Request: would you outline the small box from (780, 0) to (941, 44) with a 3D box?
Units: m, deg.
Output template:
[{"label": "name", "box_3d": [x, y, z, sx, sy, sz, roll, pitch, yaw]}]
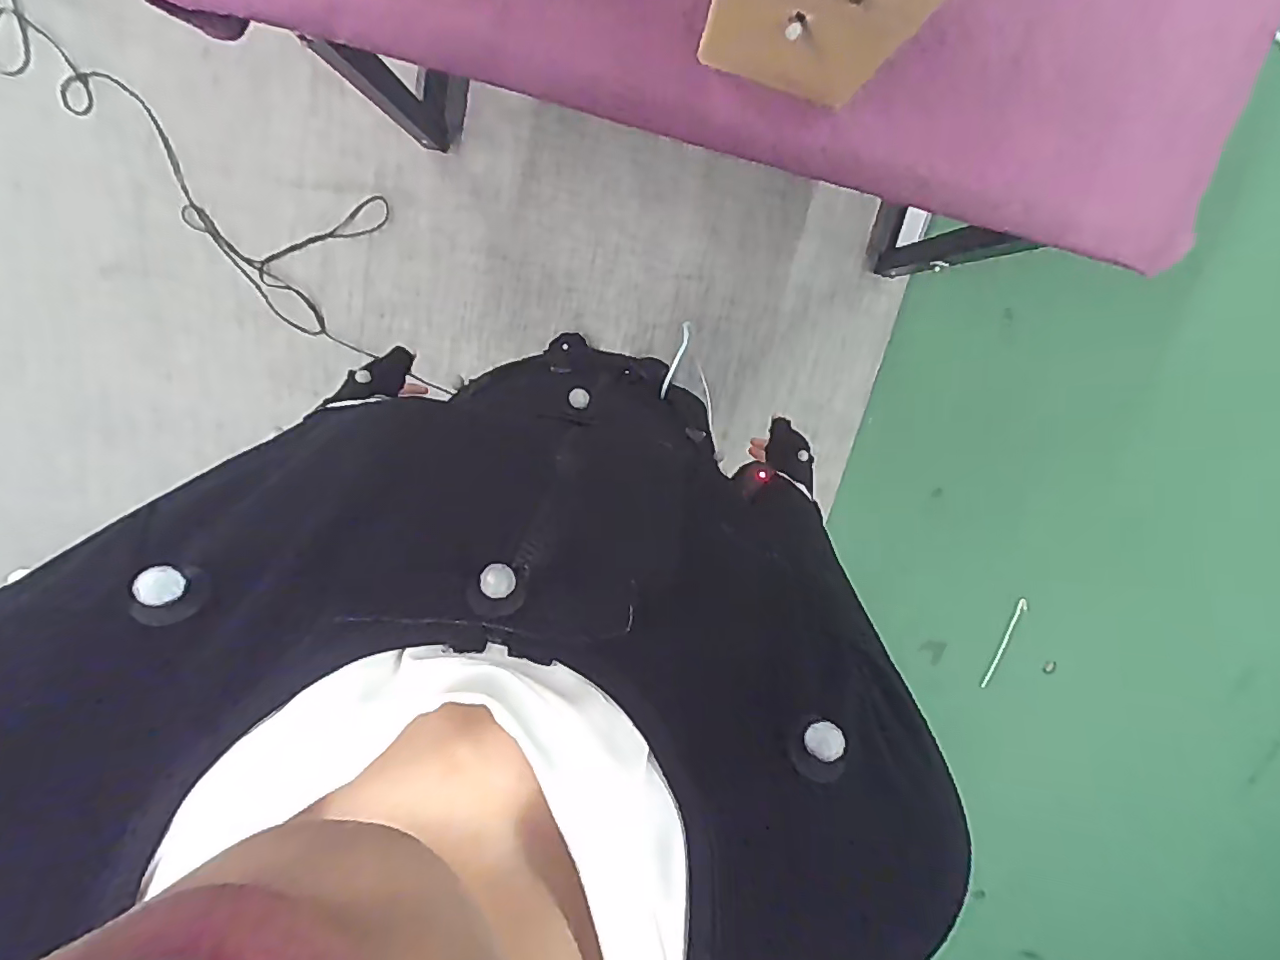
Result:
[{"label": "small box", "box_3d": [0.182, -0.465, 0.374, 0.168, 0.176, 0.179, 17, 103, -6]}]

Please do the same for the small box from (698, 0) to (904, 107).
[{"label": "small box", "box_3d": [0.170, -0.506, 0.533, 0.179, 0.176, 0.168, 15, 104, -5]}]
